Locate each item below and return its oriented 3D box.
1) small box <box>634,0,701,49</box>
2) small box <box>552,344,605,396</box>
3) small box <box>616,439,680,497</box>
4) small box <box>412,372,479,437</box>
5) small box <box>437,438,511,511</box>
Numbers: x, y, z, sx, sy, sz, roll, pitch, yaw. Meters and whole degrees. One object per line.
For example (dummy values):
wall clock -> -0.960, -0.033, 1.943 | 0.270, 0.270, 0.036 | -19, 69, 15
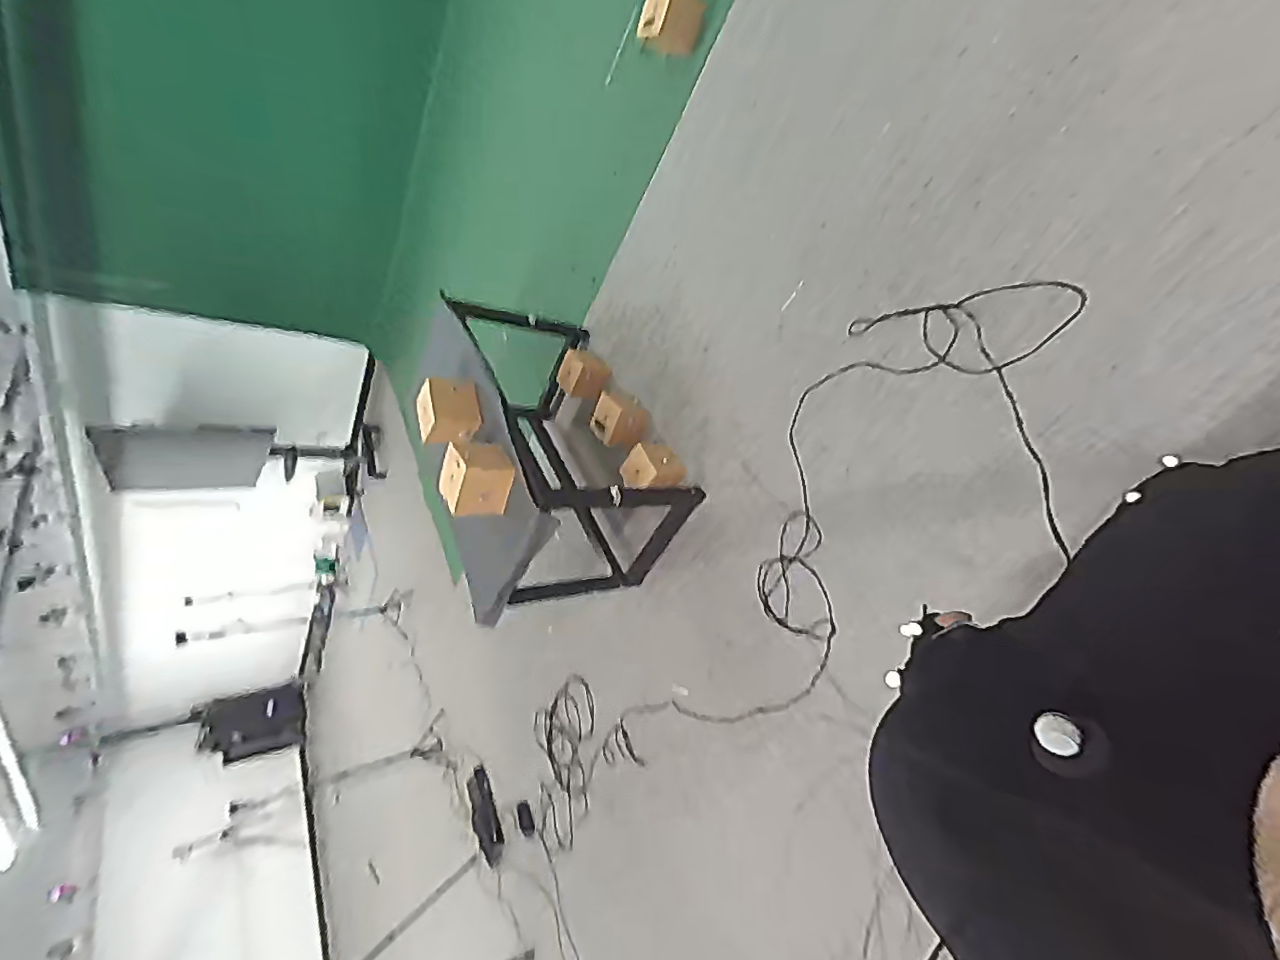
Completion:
small box -> 0.110, -1.816, 2.106 | 0.168, 0.176, 0.179 | 41, 119, 41
small box -> -0.286, -0.517, 2.563 | 0.168, 0.176, 0.179 | 53, 127, 36
small box -> 0.038, -0.048, 2.192 | 0.179, 0.176, 0.168 | -53, 53, 35
small box -> -0.692, -0.260, 1.922 | 0.168, 0.176, 0.179 | -37, 64, 46
small box -> -0.531, -0.018, 1.732 | 0.168, 0.176, 0.179 | 44, 122, 40
